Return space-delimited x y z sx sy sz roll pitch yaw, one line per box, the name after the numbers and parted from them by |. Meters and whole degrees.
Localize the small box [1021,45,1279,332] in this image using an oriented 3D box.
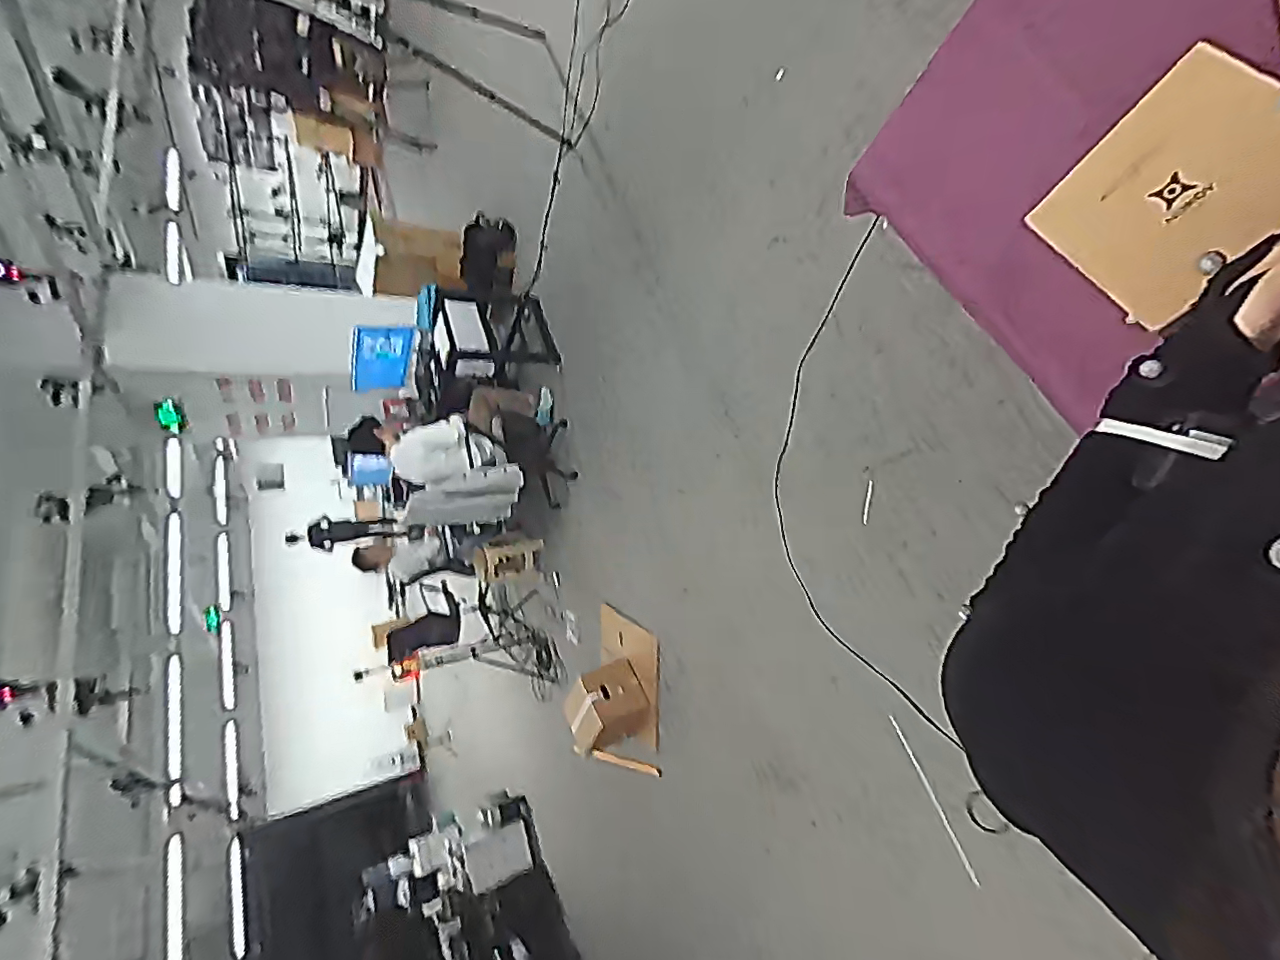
0.531 -0.260 0.518 0.168 0.176 0.179 -54 51 45 | small box
